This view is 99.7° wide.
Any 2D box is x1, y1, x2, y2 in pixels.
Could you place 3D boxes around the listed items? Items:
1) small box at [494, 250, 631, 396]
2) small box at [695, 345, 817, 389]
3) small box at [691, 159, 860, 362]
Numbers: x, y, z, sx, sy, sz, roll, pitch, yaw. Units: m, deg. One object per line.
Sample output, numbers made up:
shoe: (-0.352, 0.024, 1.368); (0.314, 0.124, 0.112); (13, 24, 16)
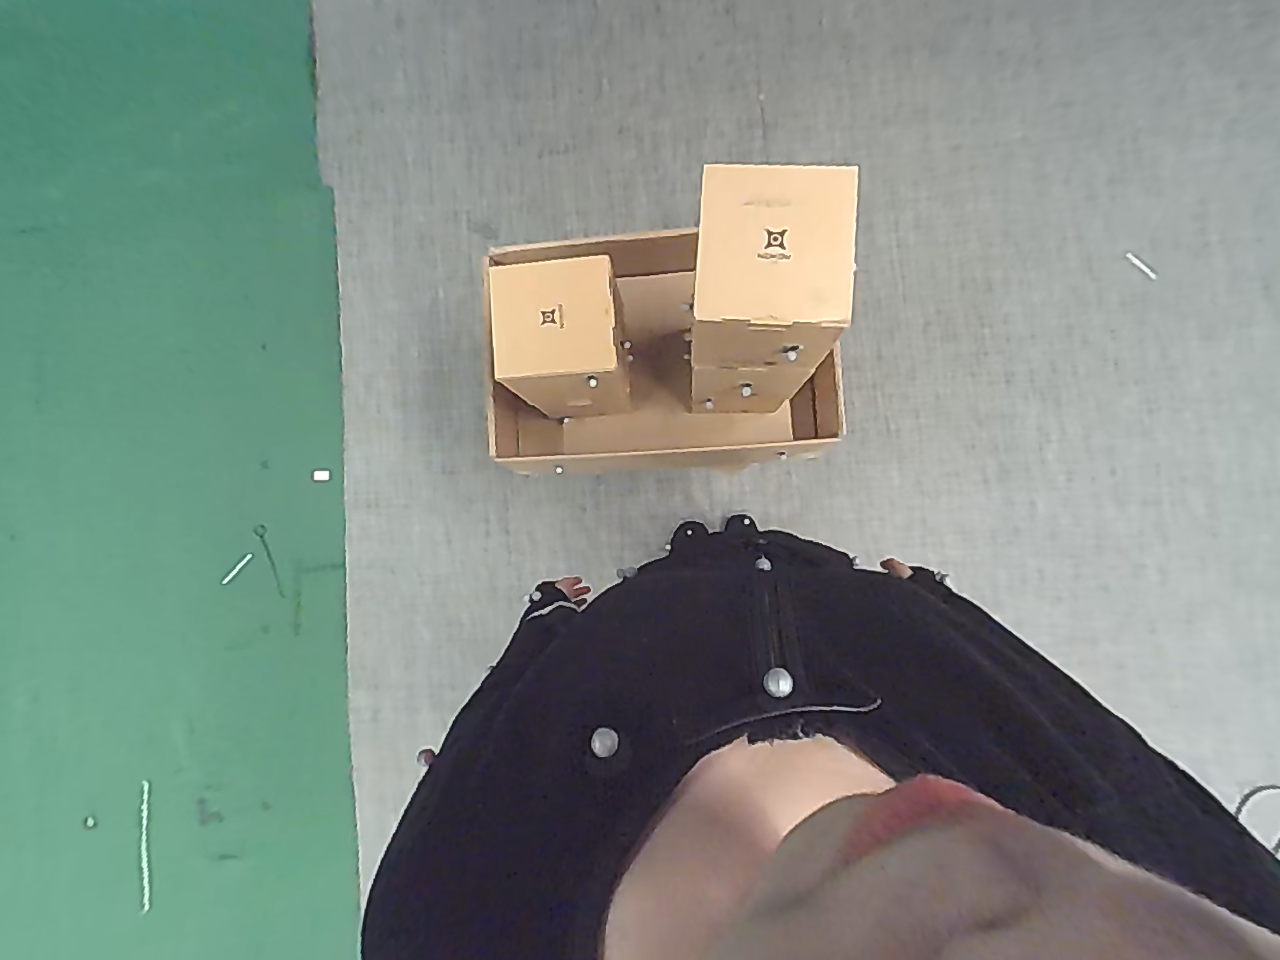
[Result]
small box: (-0.113, -0.232, 0.841); (0.179, 0.176, 0.168); (-4, 86, 4)
small box: (0.169, -0.238, 0.812); (0.168, 0.176, 0.179); (2, 88, 6)
small box: (0.151, -0.249, 0.649); (0.168, 0.176, 0.179); (4, 86, 6)
